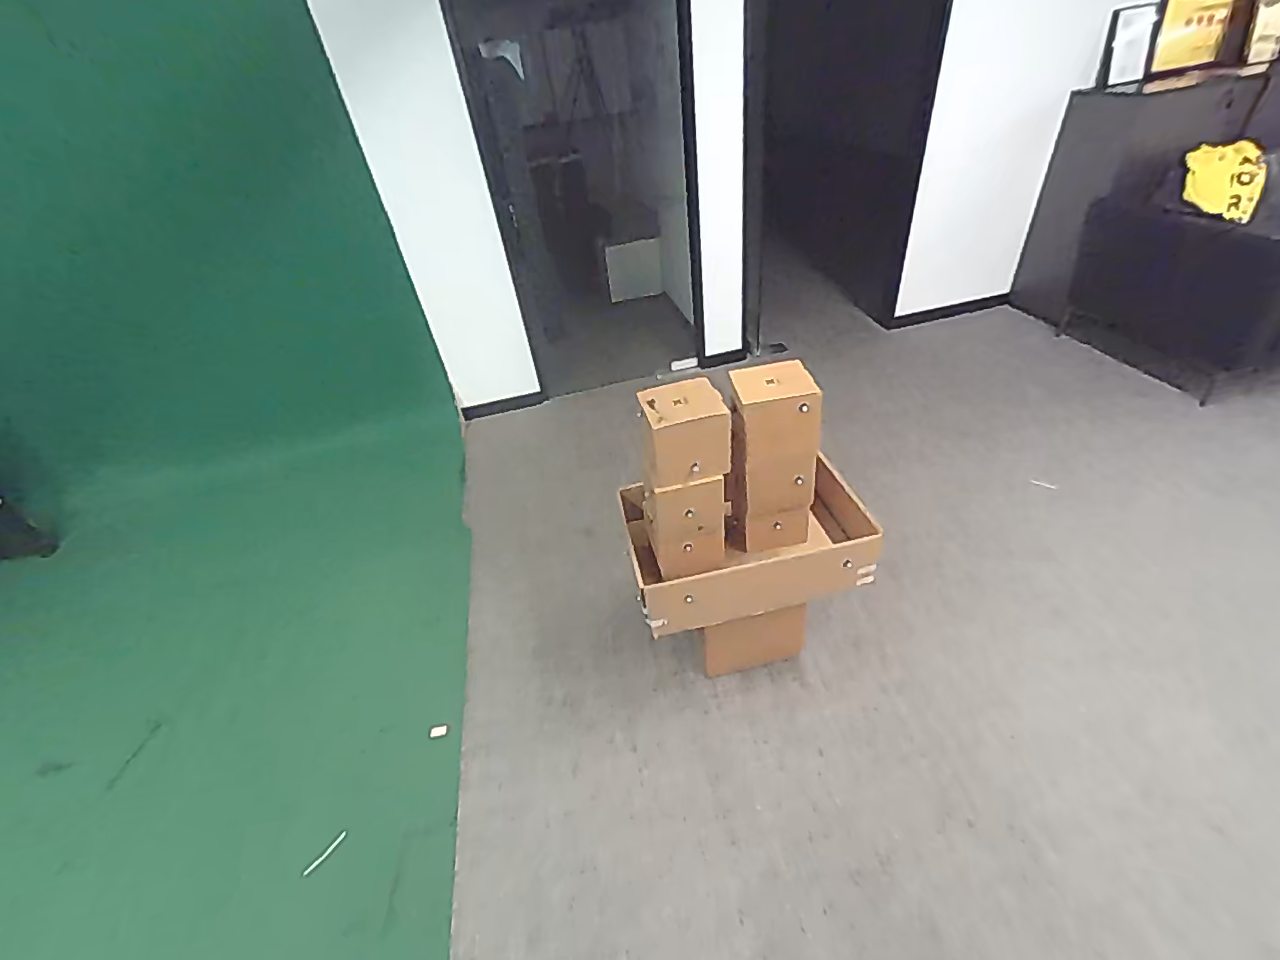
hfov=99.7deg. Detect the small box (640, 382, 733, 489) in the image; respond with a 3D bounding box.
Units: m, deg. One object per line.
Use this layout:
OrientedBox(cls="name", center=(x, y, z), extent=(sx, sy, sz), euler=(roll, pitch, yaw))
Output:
OrientedBox(cls="small box", center=(0.105, -0.103, 1.252), extent=(0.179, 0.176, 0.168), euler=(-12, 39, -6))
